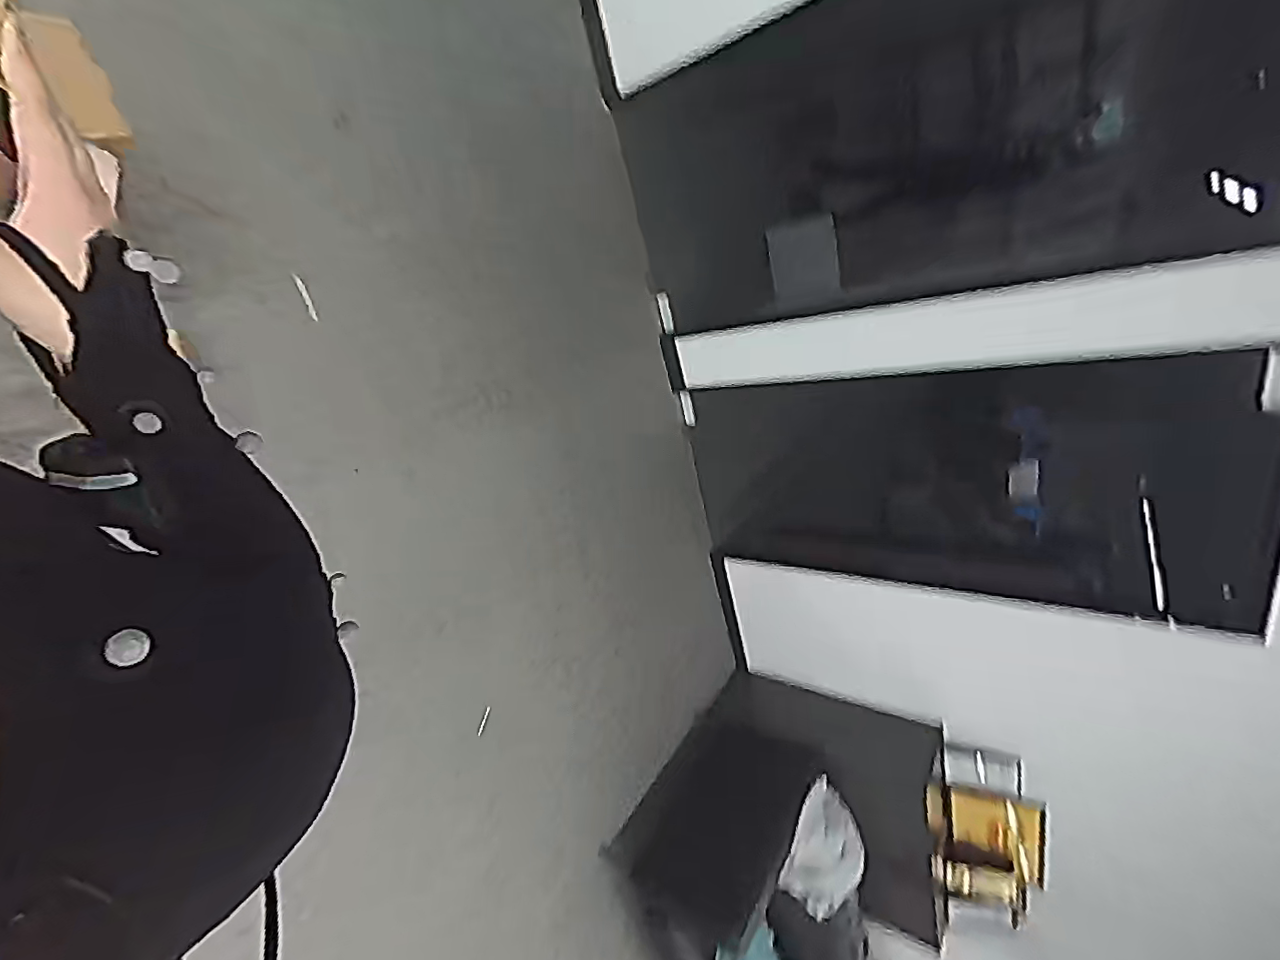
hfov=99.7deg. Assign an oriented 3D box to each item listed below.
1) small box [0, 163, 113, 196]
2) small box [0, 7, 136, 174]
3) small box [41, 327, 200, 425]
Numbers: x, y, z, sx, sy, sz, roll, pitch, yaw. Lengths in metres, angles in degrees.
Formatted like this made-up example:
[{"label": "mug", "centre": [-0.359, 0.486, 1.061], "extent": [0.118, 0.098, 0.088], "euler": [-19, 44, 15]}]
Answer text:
[{"label": "small box", "centre": [-1.080, -0.607, 0.931], "extent": [0.179, 0.176, 0.168], "euler": [-41, 124, -42]}, {"label": "small box", "centre": [-0.950, -0.593, 0.838], "extent": [0.179, 0.176, 0.168], "euler": [-41, 121, -45]}, {"label": "small box", "centre": [-1.009, -0.203, 1.053], "extent": [0.179, 0.176, 0.168], "euler": [-23, 111, -48]}]
